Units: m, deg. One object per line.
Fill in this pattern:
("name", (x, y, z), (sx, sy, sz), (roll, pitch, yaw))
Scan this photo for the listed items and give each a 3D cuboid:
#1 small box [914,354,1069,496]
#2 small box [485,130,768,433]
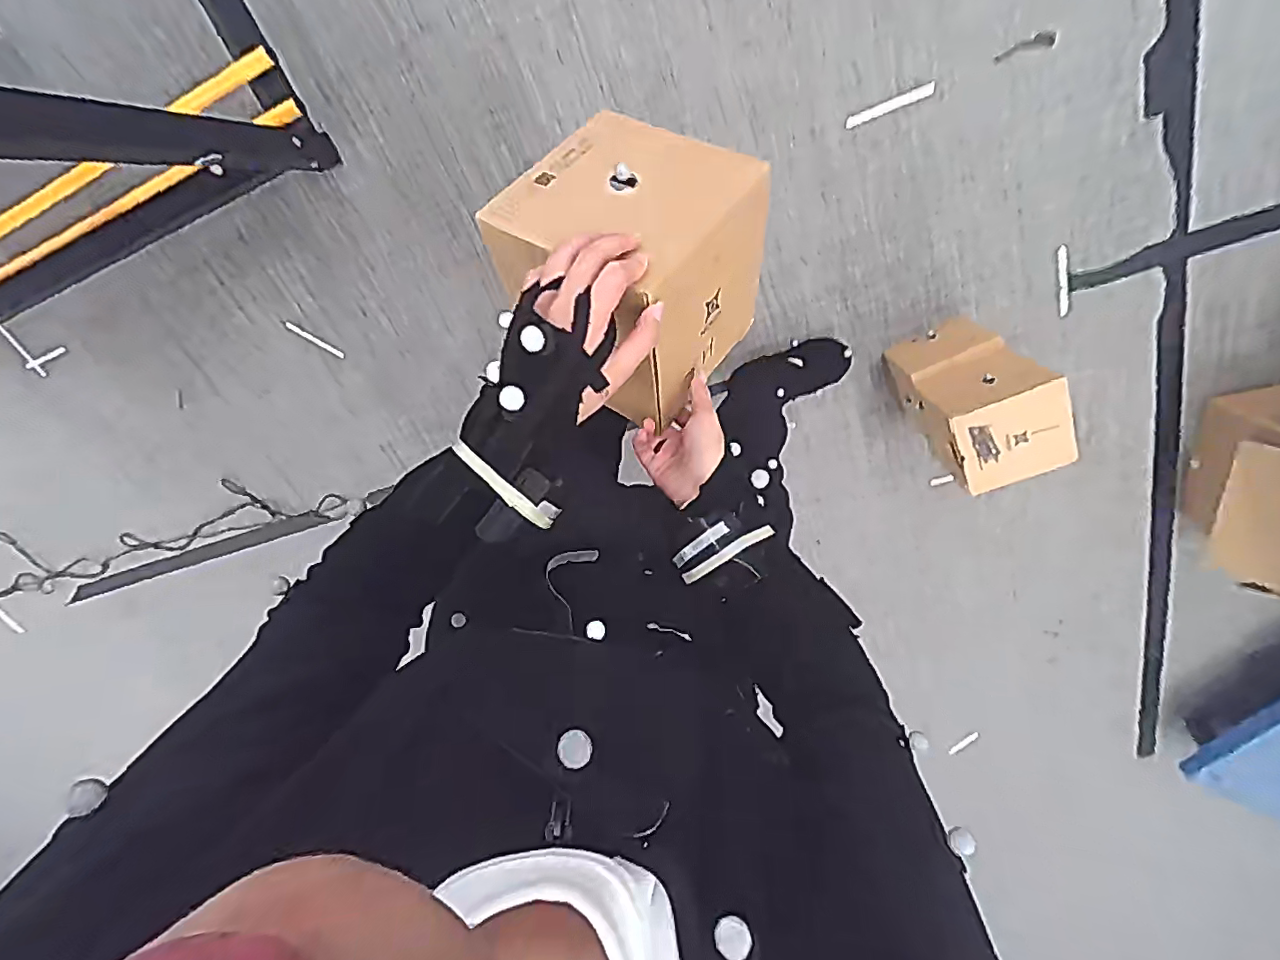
("small box", (0.617, -0.102, 0.972), (0.179, 0.176, 0.168), (-22, 115, 15))
("small box", (-0.008, -0.181, 0.485), (0.176, 0.168, 0.179), (32, 159, 20))
